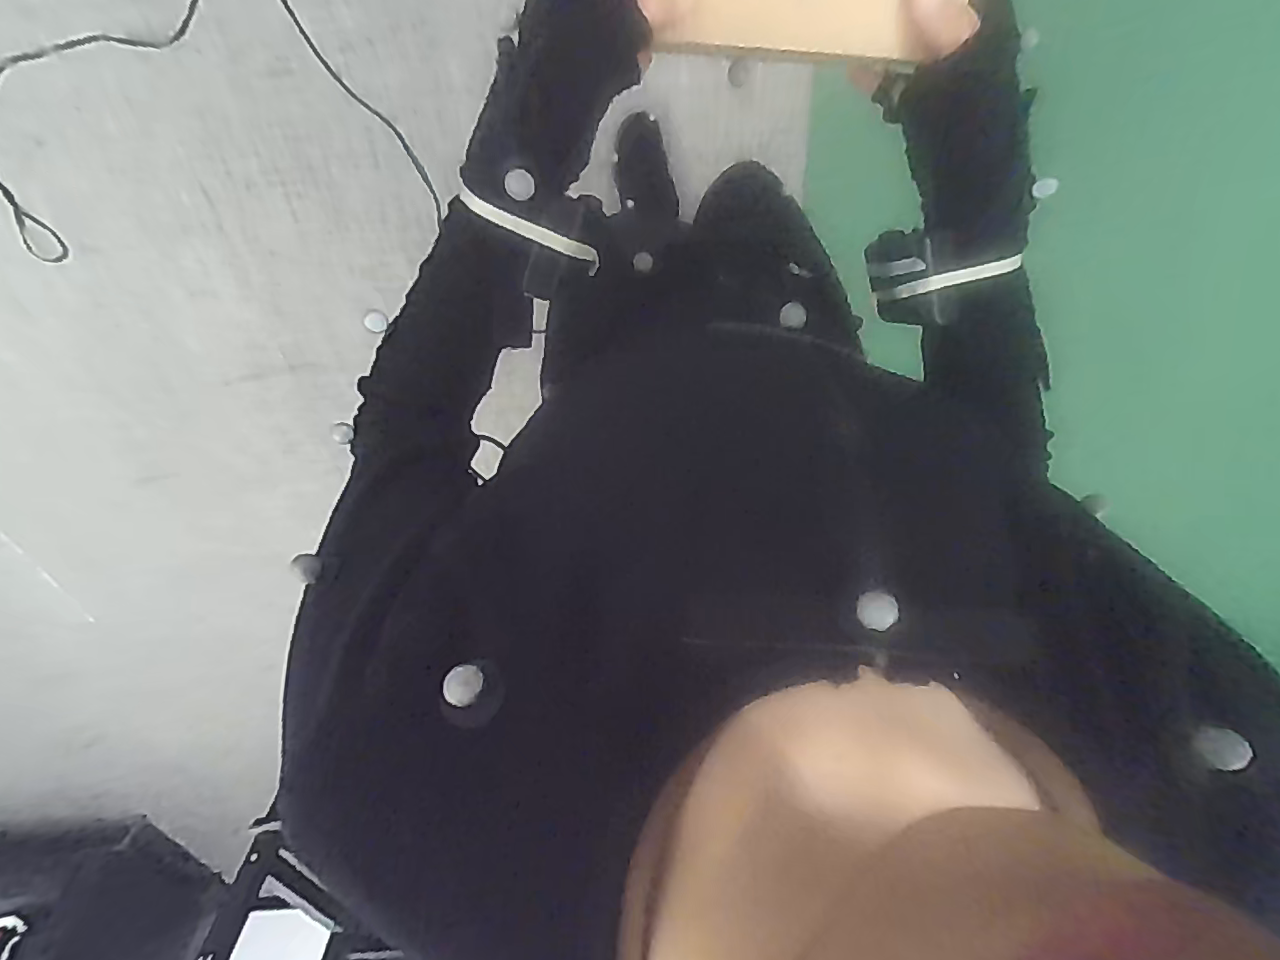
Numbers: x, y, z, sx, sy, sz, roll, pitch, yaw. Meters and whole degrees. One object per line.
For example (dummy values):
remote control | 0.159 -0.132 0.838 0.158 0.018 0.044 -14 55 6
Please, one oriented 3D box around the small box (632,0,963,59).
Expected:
small box | 0.082 -0.345 0.290 0.168 0.176 0.179 2 126 -3
